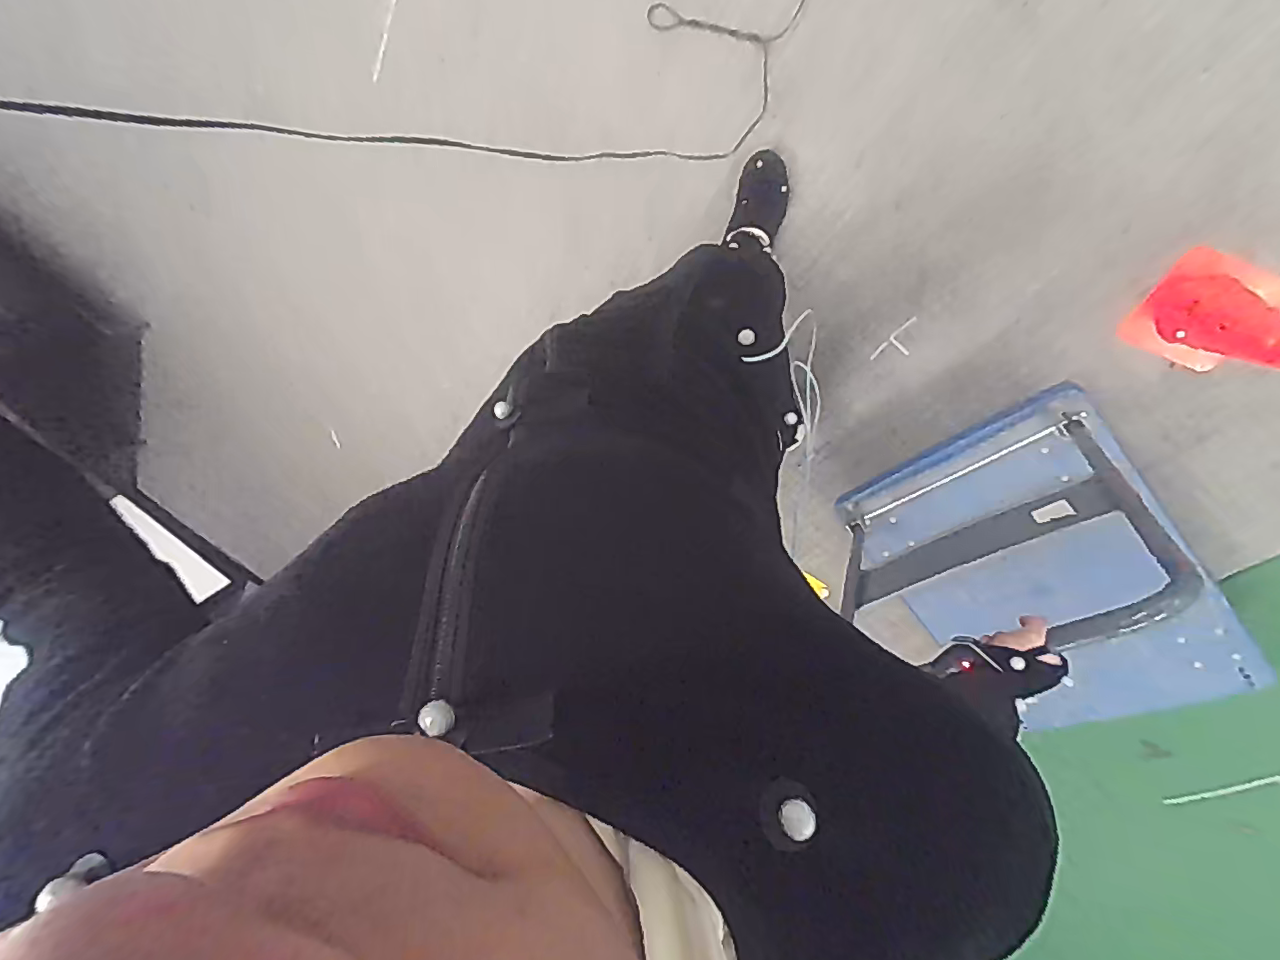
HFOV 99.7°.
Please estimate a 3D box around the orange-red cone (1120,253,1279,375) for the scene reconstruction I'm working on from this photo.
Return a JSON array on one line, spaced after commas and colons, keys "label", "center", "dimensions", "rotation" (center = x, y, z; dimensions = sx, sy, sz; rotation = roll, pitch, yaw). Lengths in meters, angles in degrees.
[{"label": "orange-red cone", "center": [1.081, -0.255, 0.961], "dimensions": [0.198, 0.360, 0.199], "rotation": [29, 124, 5]}]
